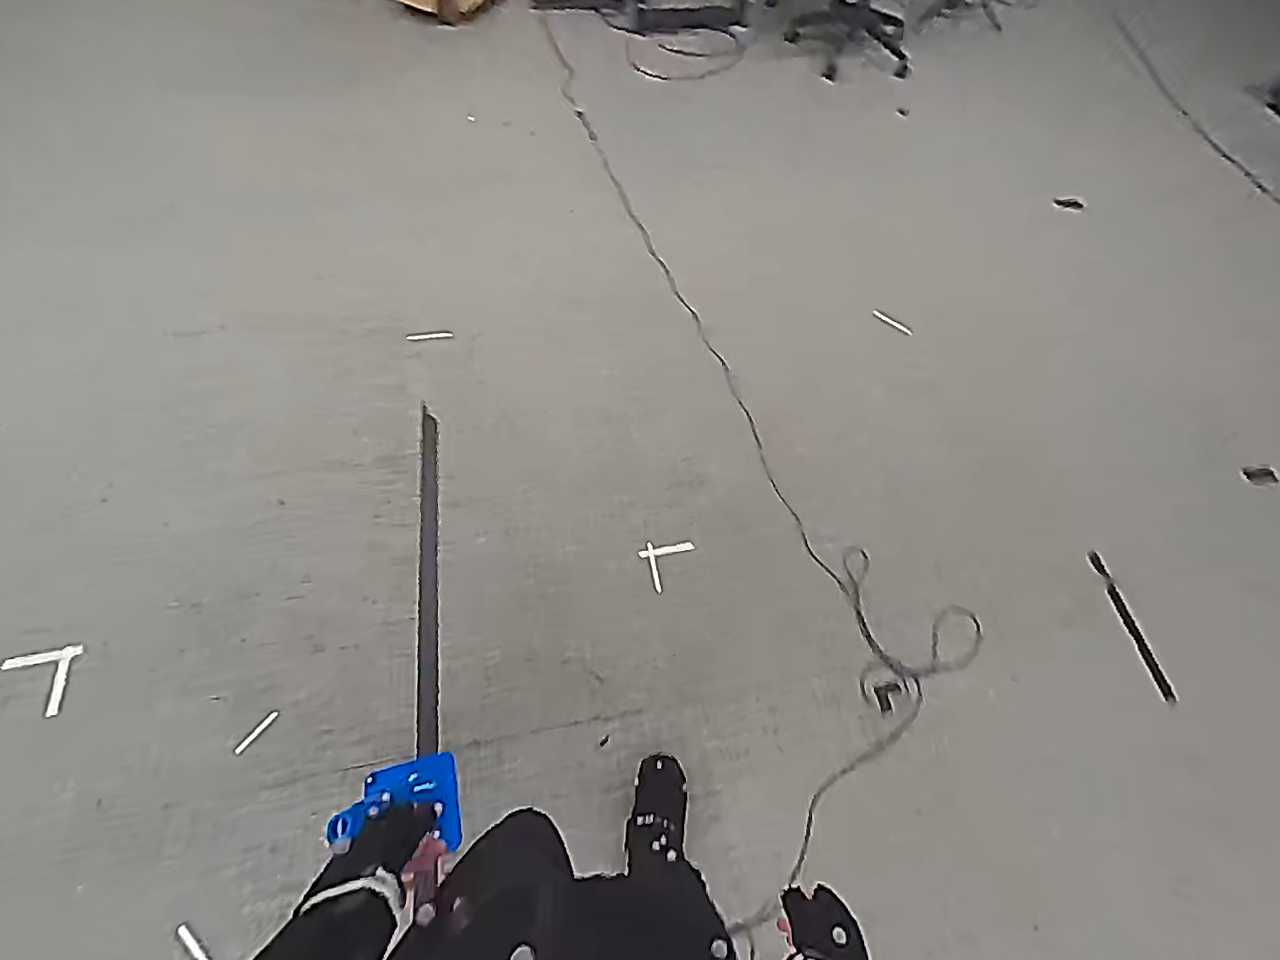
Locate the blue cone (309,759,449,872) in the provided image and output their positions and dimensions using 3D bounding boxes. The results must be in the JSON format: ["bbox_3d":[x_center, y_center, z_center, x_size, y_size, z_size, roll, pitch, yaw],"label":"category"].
[{"bbox_3d":[-0.518,0.657,1.048,0.192,0.380,0.193,-11,63,-7],"label":"blue cone"}]
